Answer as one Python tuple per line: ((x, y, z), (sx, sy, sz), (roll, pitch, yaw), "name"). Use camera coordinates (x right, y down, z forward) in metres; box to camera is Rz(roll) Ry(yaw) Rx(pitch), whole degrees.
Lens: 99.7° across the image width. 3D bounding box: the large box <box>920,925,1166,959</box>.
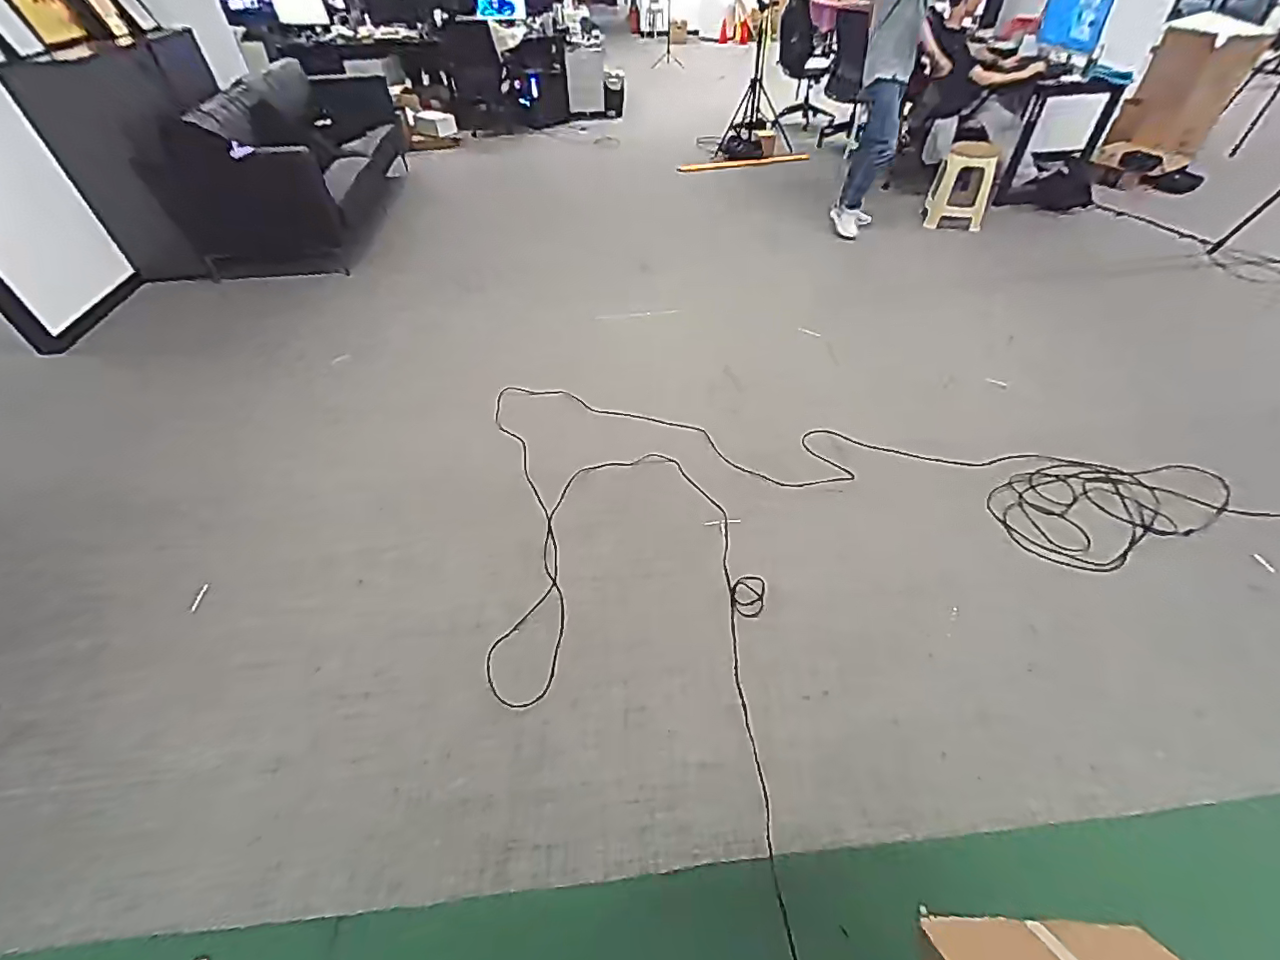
((0.551, 0.772, 0.563), (0.320, 0.408, 0.320), (0, 81, 3), "large box")
